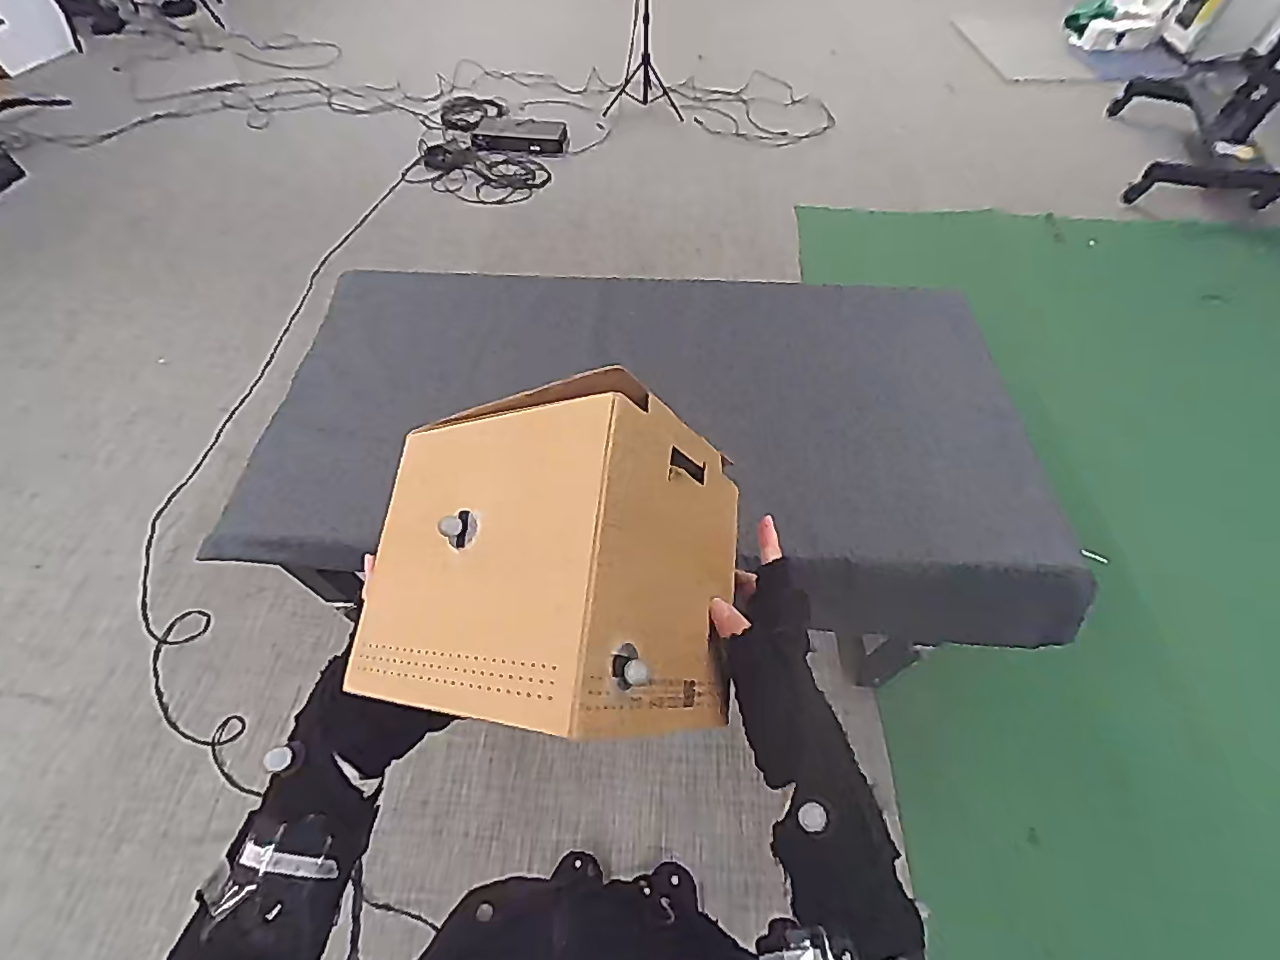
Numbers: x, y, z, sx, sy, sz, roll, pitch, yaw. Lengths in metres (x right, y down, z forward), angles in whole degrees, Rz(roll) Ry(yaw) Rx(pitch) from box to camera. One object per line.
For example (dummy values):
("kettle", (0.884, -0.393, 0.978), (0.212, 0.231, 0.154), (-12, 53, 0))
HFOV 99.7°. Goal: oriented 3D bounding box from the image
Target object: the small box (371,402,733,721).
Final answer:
("small box", (-0.050, 0.068, 0.377), (0.179, 0.168, 0.176), (-7, 66, 33))
